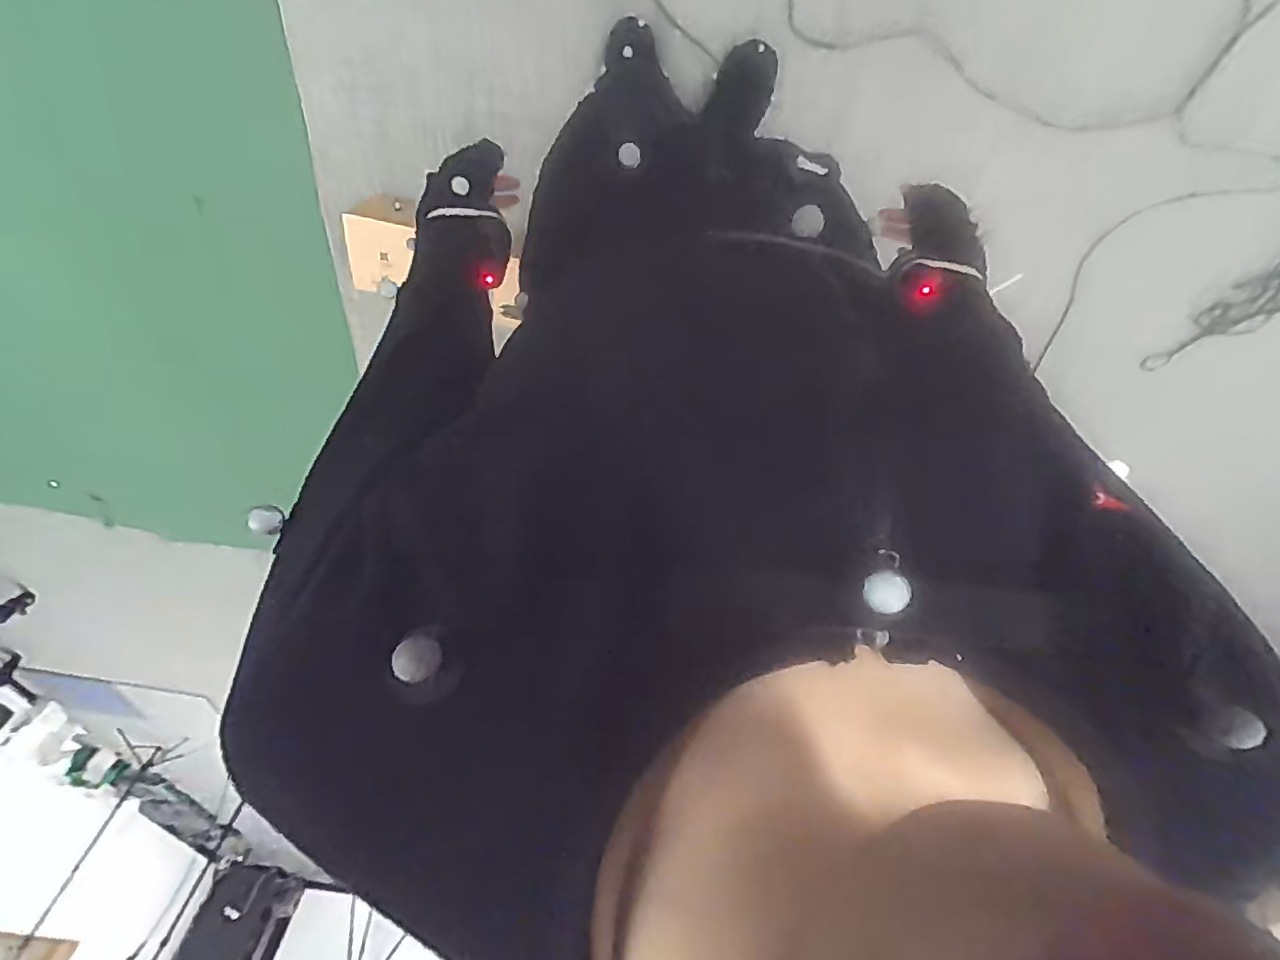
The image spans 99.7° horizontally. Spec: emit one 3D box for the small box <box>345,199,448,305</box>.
[{"bbox_3d":[-0.569,-0.548,1.288,0.168,0.176,0.179,11,131,-3],"label":"small box"}]
